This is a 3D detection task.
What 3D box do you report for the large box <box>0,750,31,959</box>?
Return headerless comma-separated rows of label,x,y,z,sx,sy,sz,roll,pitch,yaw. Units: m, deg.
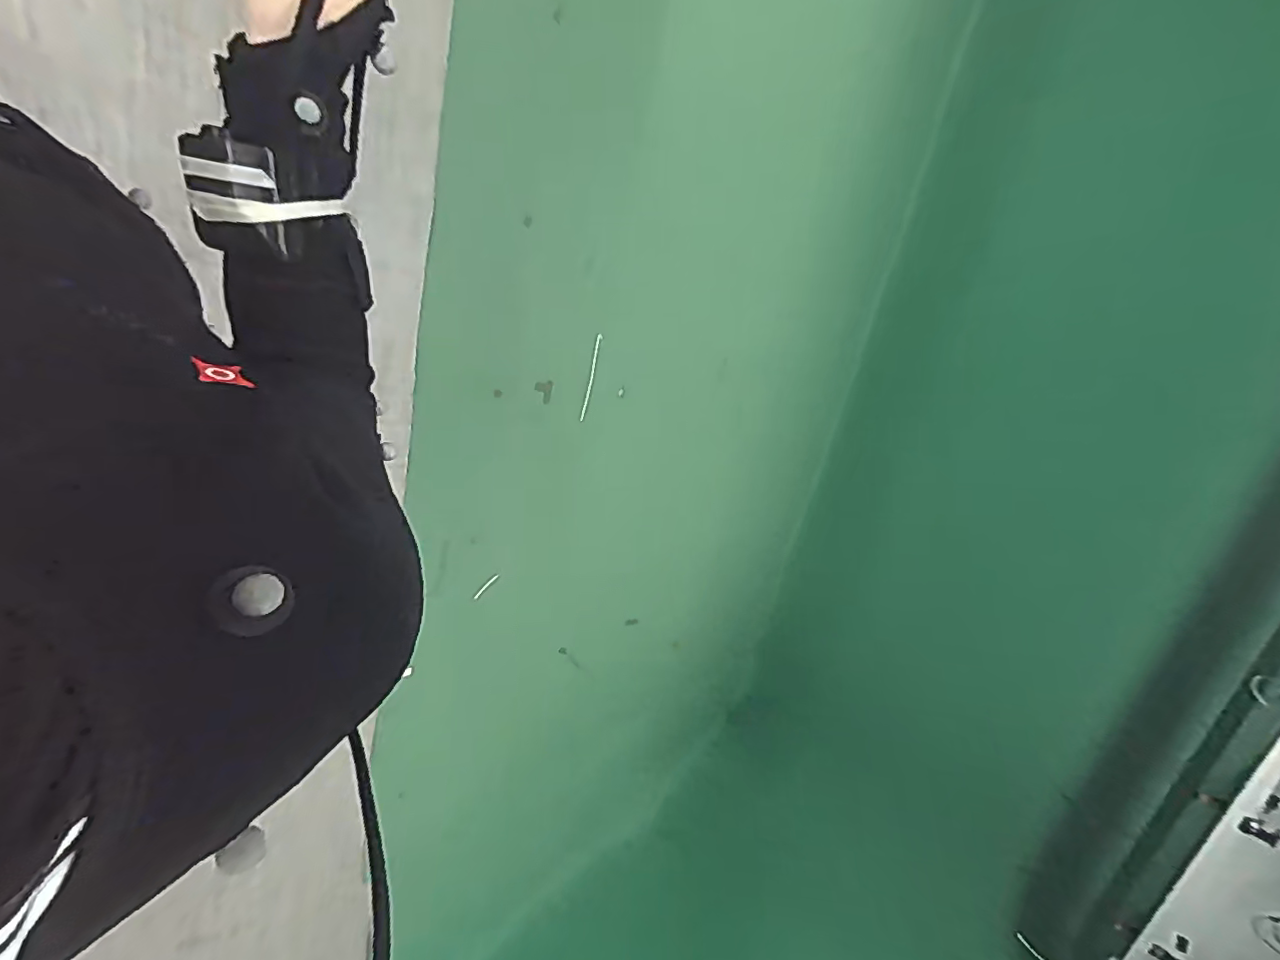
large box,-1.326,0.743,0.900,0.408,0.320,0.320,-1,111,-51
